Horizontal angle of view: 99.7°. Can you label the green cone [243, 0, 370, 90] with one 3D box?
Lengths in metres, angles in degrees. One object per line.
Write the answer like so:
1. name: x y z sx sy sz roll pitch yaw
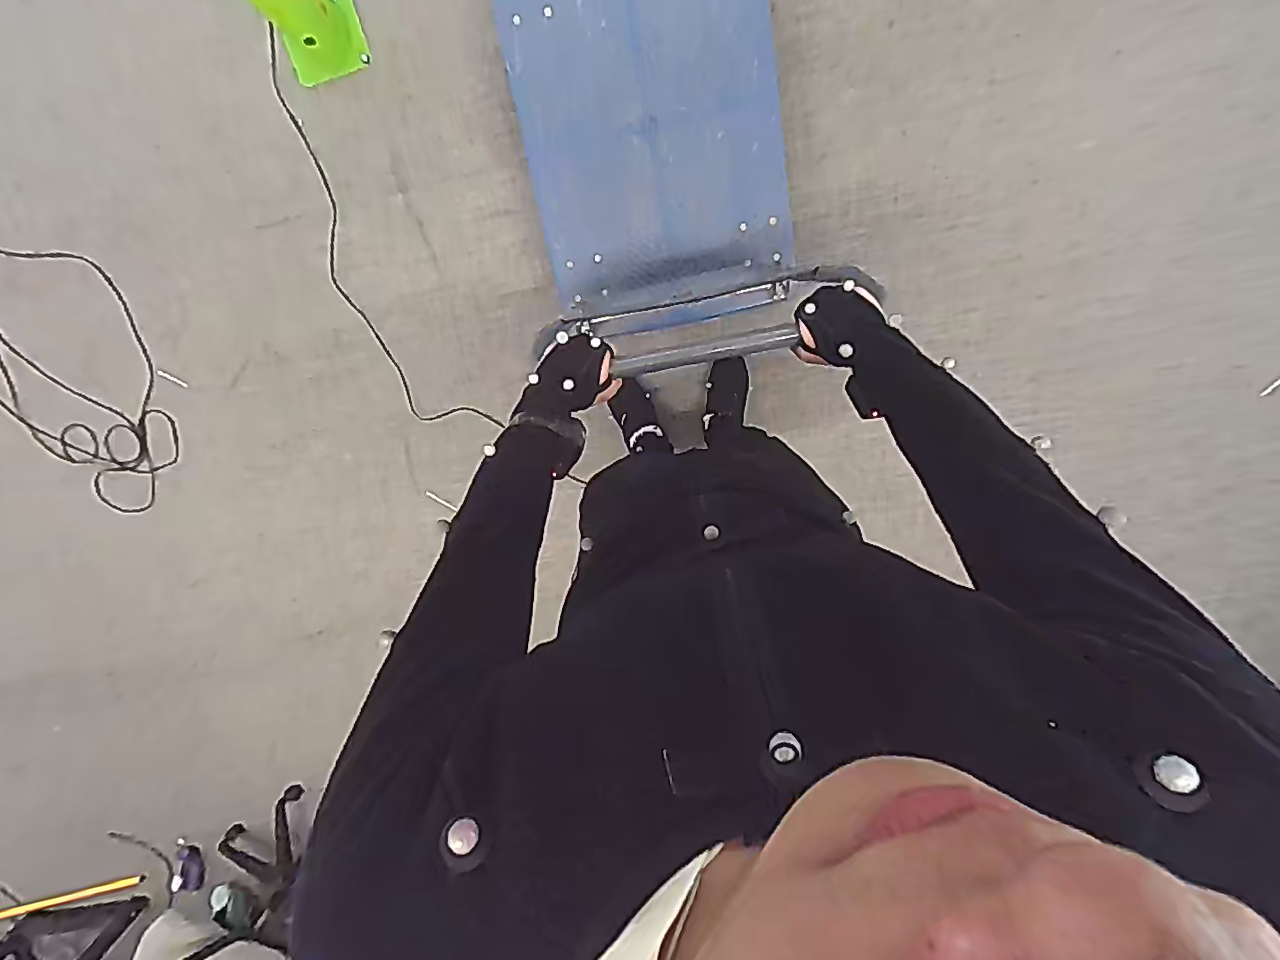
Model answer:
1. green cone: -0.798 -1.050 1.170 0.202 0.368 0.200 -13 106 9
